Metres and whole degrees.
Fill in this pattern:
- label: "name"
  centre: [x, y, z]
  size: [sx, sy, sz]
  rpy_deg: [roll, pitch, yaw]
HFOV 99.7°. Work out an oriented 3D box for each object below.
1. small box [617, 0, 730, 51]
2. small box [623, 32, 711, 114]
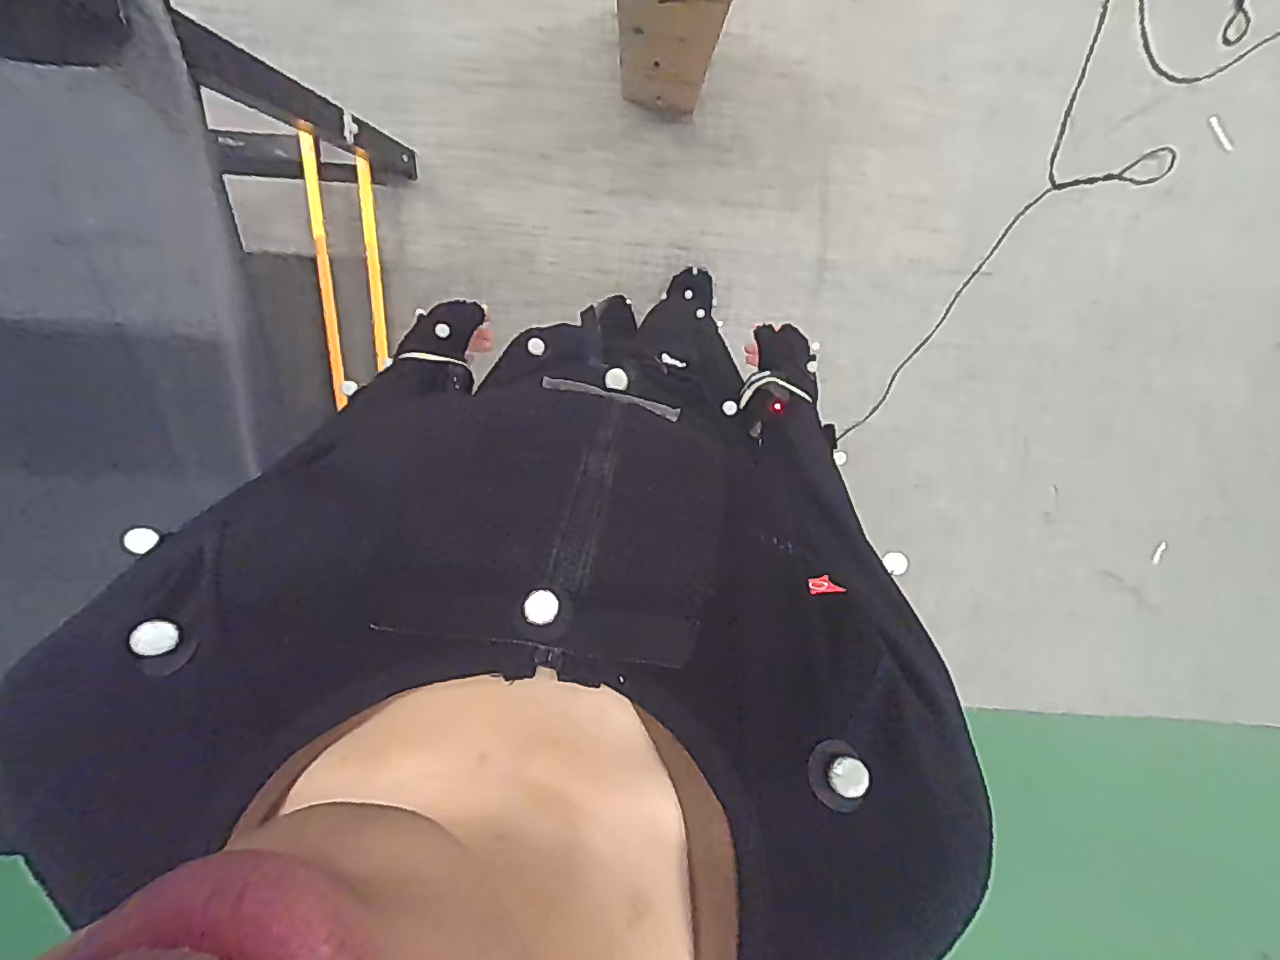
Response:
- label: "small box"
  centre: [0.058, -0.781, 0.806]
  size: [0.168, 0.176, 0.179]
  rpy_deg: [7, 109, -3]
- label: "small box"
  centre: [0.059, -0.892, 1.113]
  size: [0.168, 0.176, 0.179]
  rpy_deg: [9, 110, -3]
